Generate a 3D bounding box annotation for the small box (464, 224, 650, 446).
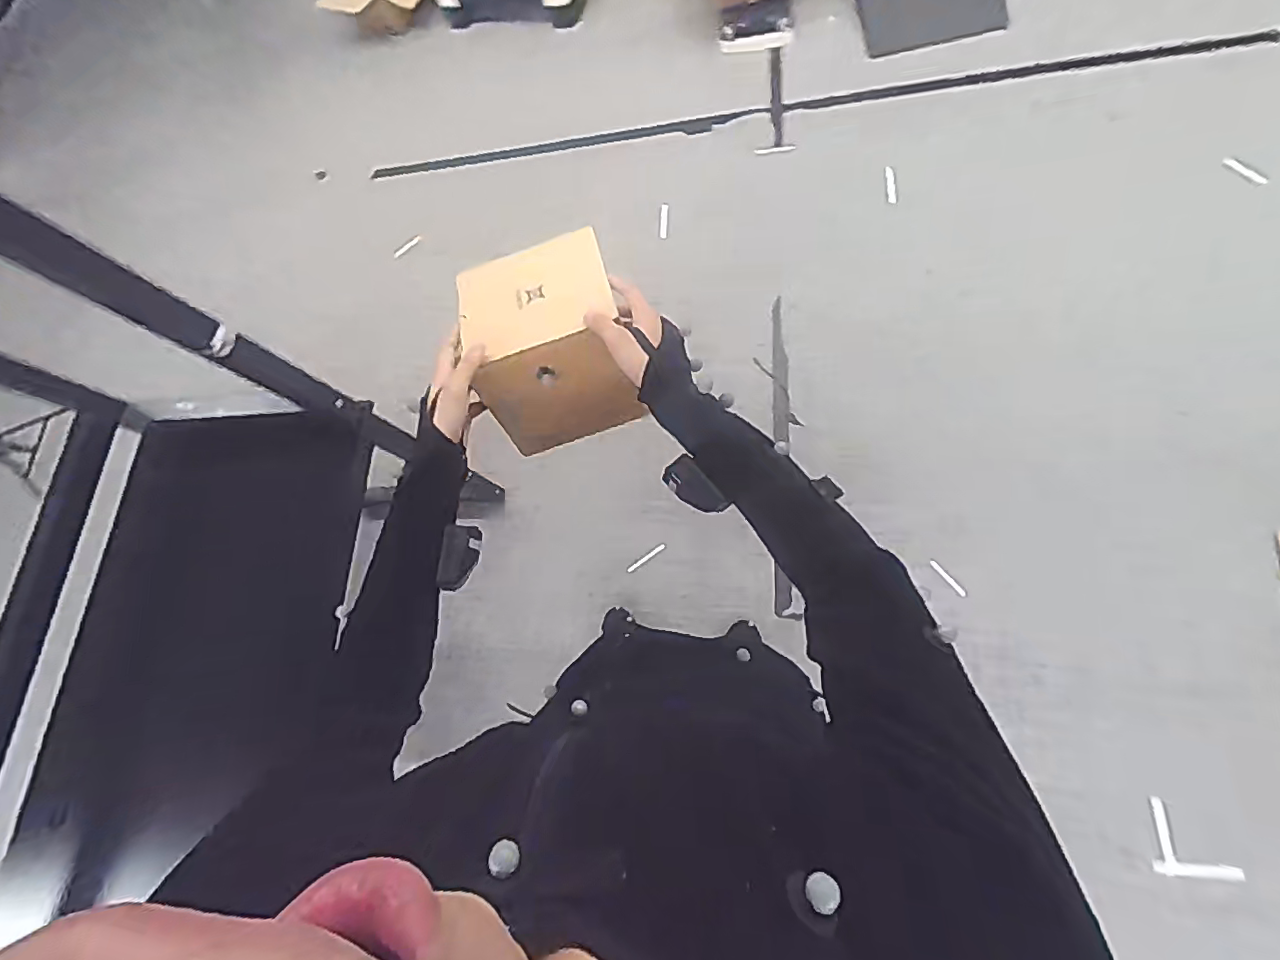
[{"bbox_3d":[-0.093,-0.169,0.664,0.179,0.176,0.168,-18,58,5],"label":"small box"}]
